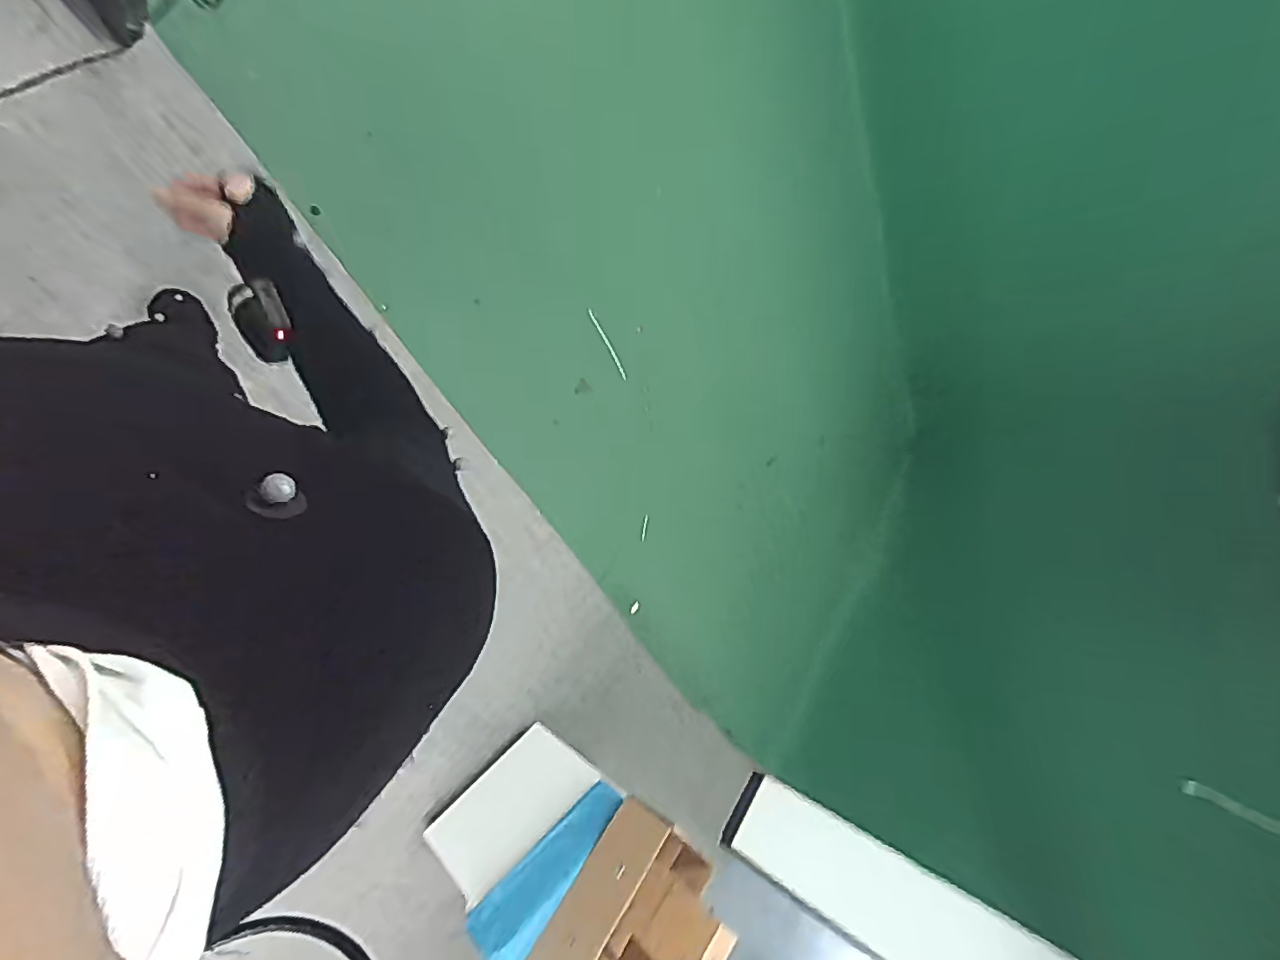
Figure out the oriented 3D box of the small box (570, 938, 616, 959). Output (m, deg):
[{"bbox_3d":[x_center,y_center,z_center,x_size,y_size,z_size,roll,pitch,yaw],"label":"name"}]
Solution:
[{"bbox_3d":[-0.124,1.414,1.480,0.179,0.176,0.168,-50,130,-27],"label":"small box"}]
